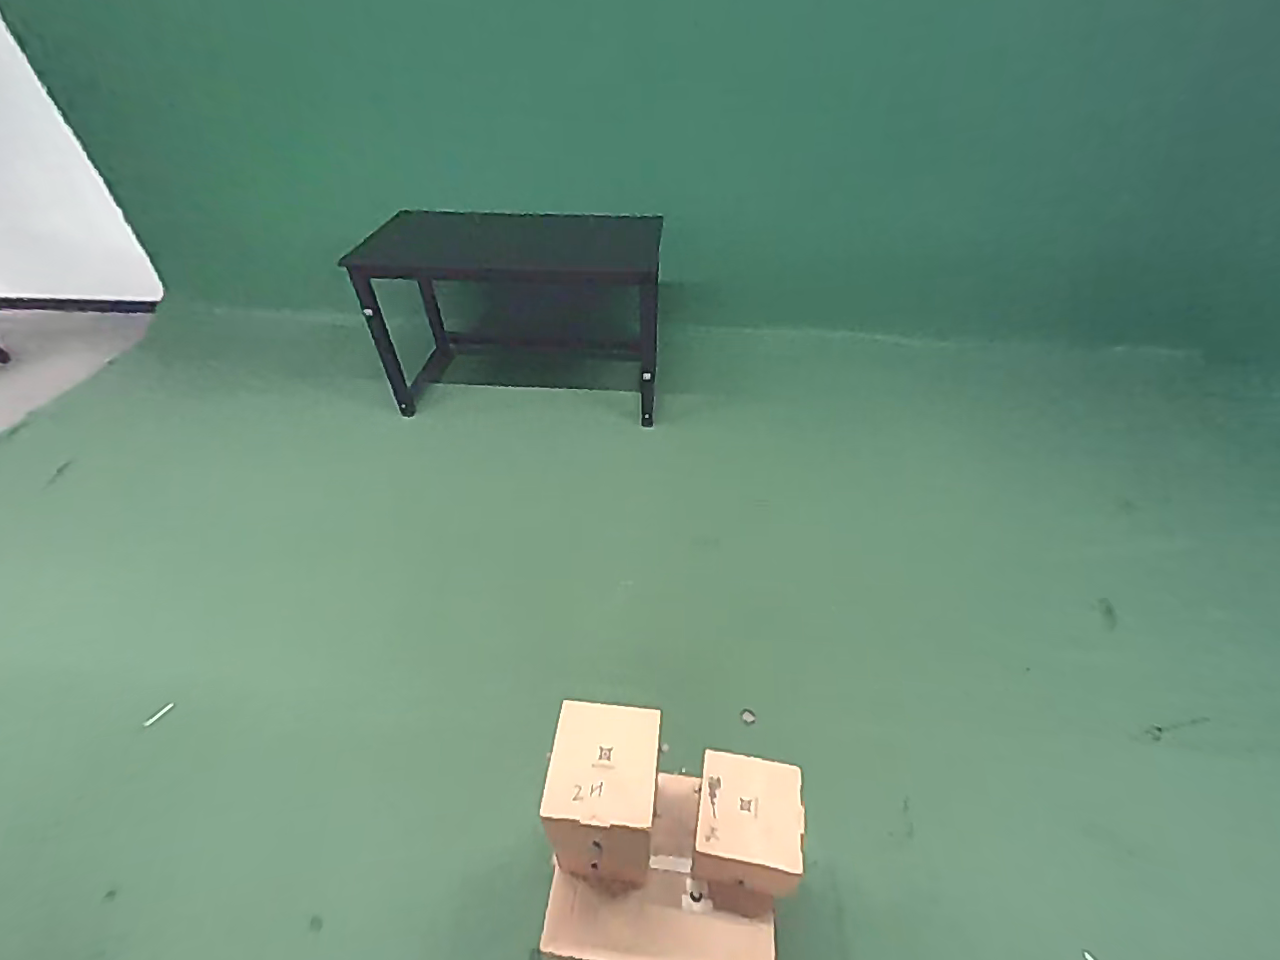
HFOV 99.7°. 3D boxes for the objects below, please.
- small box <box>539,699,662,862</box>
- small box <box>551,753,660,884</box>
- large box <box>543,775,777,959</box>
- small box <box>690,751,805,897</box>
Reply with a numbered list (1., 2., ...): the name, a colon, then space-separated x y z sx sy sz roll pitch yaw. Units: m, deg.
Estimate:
1. small box: -0.056 0.486 0.877 0.168 0.176 0.179 4 43 5
2. small box: -0.057 0.606 0.991 0.168 0.176 0.179 5 43 5
3. large box: 0.045 0.826 1.107 0.408 0.320 0.320 5 43 5
4. small box: 0.190 0.618 0.968 0.179 0.176 0.168 8 42 10
